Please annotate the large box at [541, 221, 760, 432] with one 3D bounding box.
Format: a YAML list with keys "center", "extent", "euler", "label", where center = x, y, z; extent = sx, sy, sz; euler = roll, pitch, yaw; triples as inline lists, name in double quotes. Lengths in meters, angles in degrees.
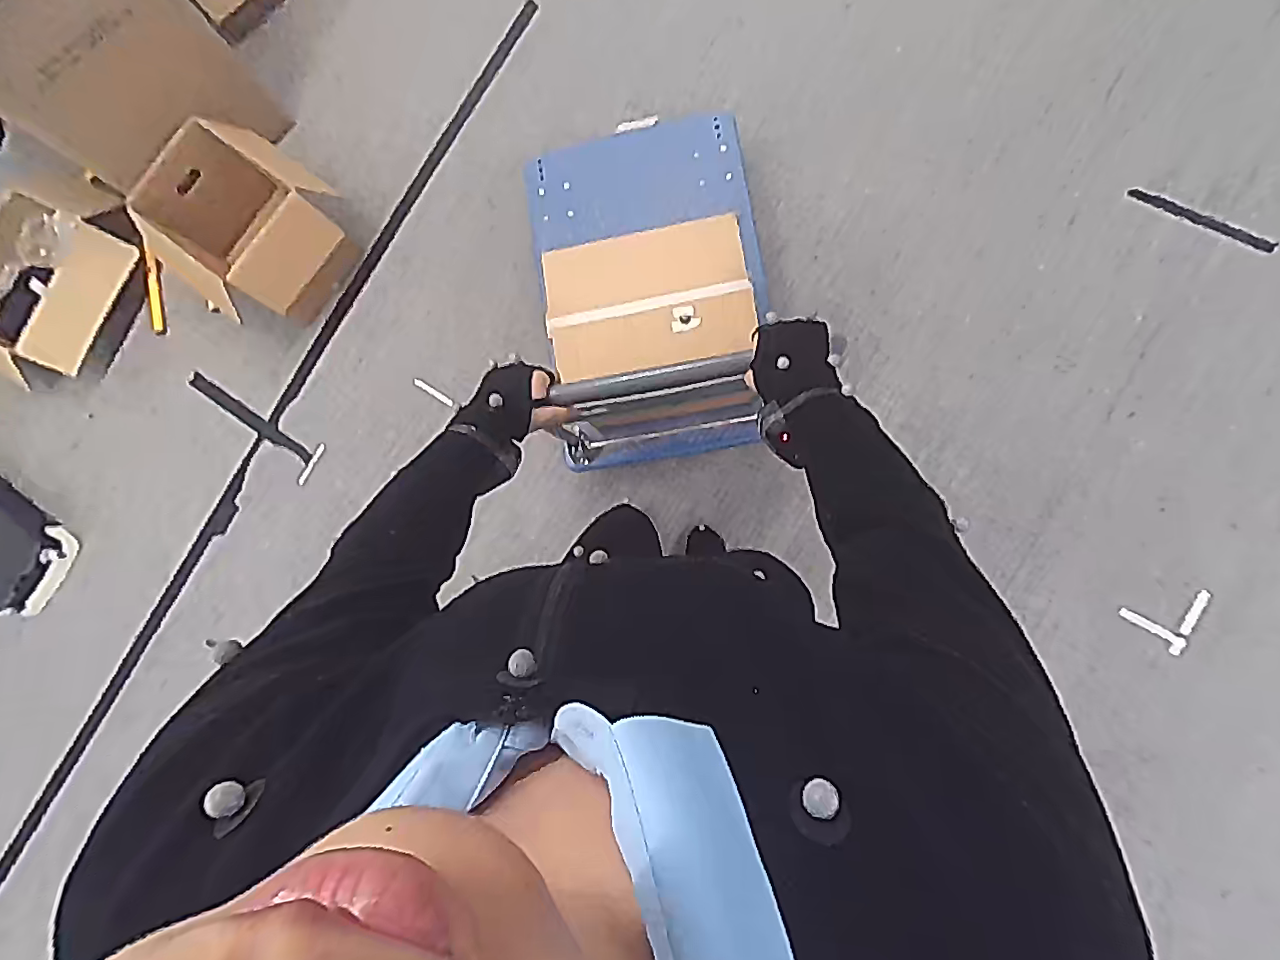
- center: [0.029, -0.318, 1.222]
  extent: [0.408, 0.320, 0.320]
  euler: [-10, 84, 5]
  label: "large box"
